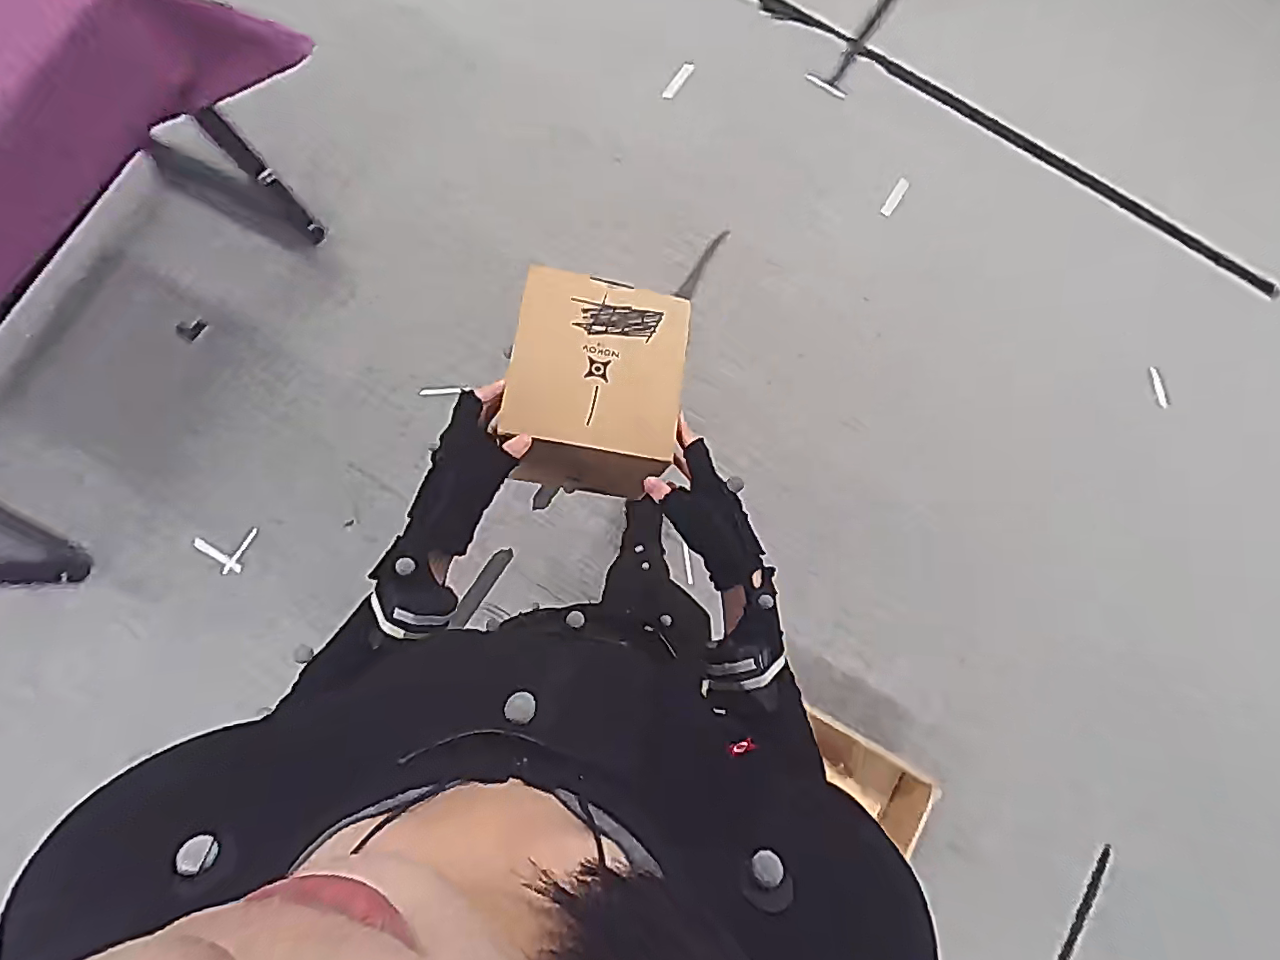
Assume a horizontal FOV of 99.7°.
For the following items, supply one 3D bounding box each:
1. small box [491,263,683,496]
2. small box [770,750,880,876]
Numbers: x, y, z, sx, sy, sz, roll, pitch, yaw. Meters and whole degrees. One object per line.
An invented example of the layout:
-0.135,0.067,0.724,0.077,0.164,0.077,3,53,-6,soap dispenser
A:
-0.061,-0.095,0.589,0.168,0.176,0.179,9,73,-9,small box
0.444,0.804,1.329,0.168,0.176,0.179,35,81,4,small box
